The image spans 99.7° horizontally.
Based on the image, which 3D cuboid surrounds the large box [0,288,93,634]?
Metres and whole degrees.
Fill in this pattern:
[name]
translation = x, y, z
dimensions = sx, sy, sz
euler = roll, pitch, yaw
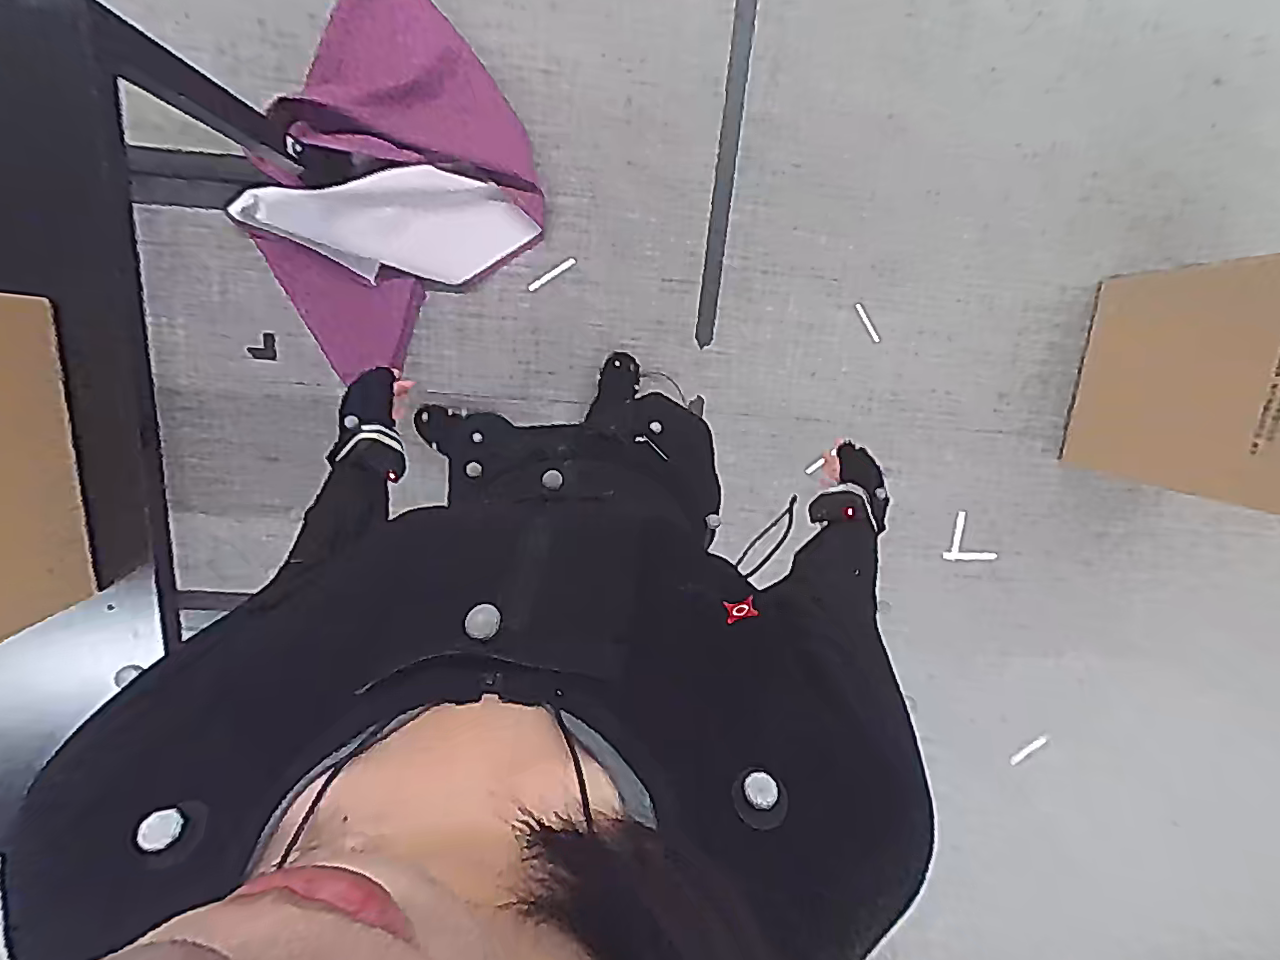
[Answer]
[large box]
translation = -0.881, -0.009, 0.549
dimensions = 0.320, 0.320, 0.408
euler = 2, 102, -6
